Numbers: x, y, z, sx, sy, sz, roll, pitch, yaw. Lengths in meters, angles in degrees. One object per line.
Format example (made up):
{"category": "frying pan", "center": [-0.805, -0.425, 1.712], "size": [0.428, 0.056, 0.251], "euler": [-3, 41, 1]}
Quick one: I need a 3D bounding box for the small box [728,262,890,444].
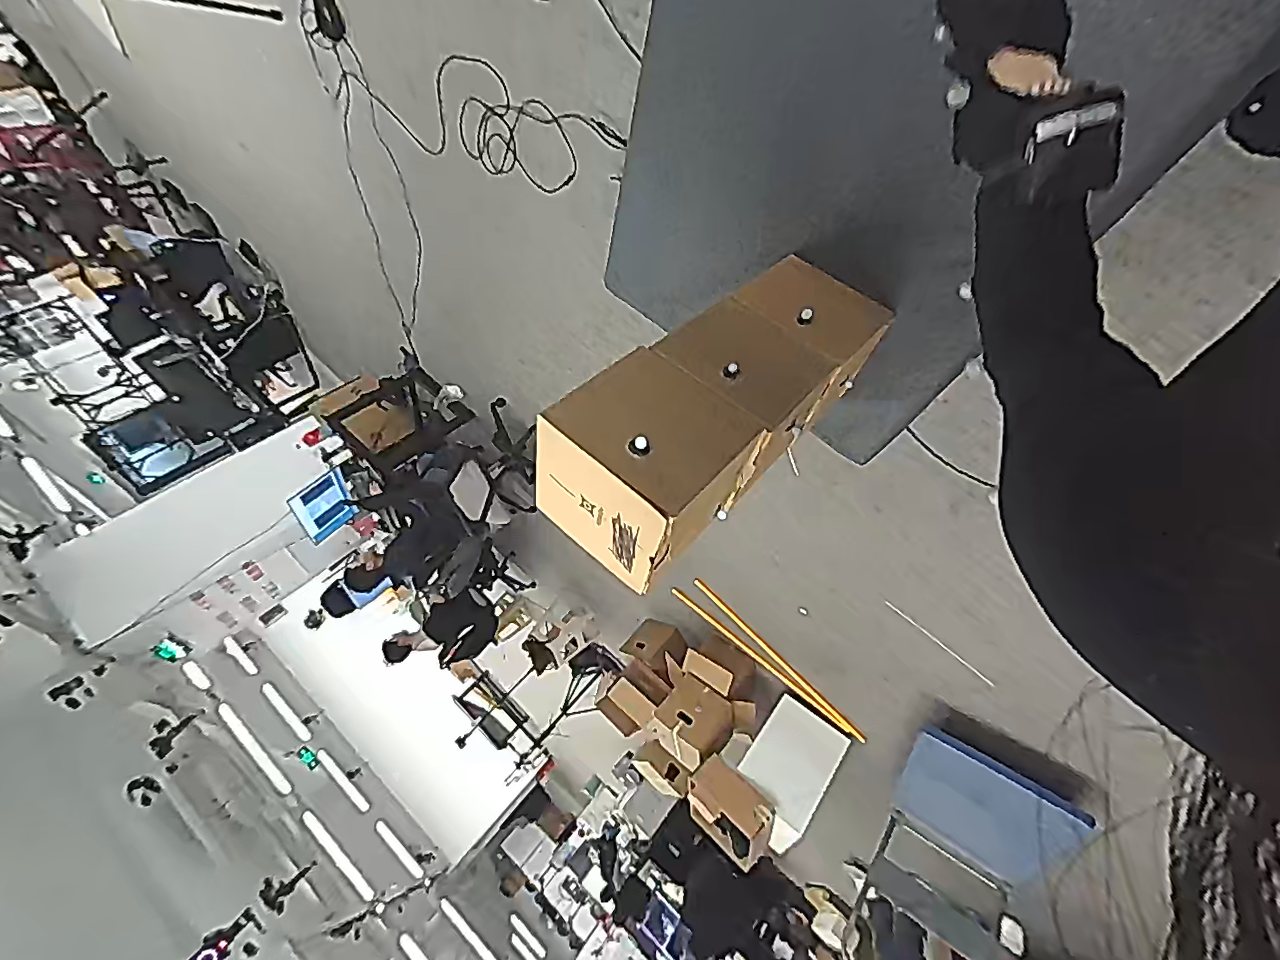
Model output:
{"category": "small box", "center": [0.221, -0.192, 0.789], "size": [0.179, 0.176, 0.168], "euler": [38, 147, 16]}

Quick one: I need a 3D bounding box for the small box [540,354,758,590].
{"category": "small box", "center": [0.006, -0.015, 0.618], "size": [0.179, 0.176, 0.168], "euler": [38, 145, 17]}

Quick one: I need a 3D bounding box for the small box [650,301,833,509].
{"category": "small box", "center": [0.116, -0.103, 0.703], "size": [0.179, 0.176, 0.168], "euler": [39, 146, 16]}
